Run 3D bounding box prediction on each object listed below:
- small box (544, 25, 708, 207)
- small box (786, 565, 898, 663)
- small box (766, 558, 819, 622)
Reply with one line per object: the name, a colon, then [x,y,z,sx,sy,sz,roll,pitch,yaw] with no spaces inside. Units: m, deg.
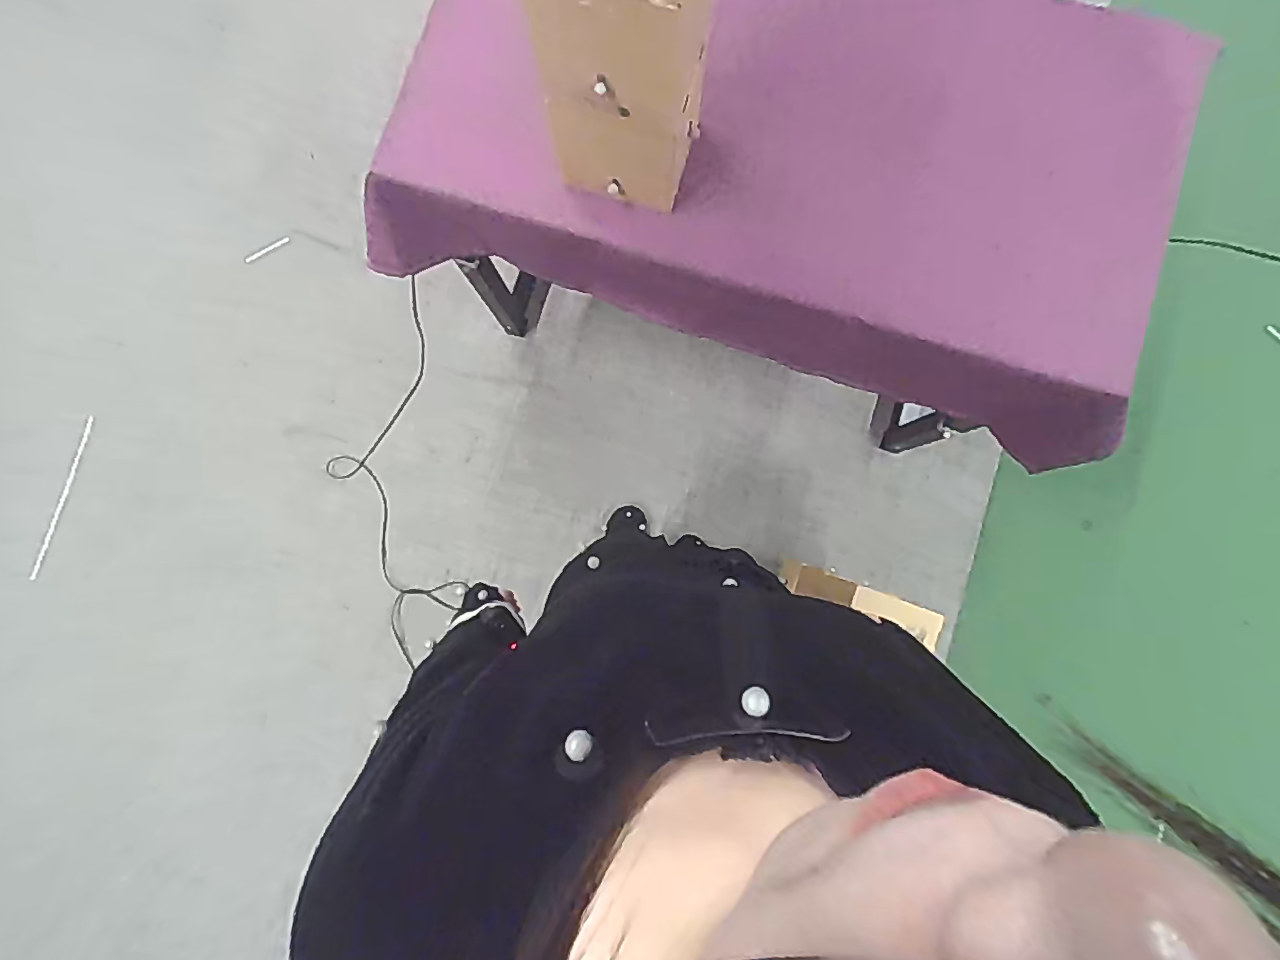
small box: [-0.018,-0.520,0.764,0.179,0.176,0.168,16,85,1]
small box: [0.460,0.302,1.262,0.179,0.176,0.168,19,87,1]
small box: [0.452,0.311,1.424,0.179,0.176,0.168,22,86,1]
